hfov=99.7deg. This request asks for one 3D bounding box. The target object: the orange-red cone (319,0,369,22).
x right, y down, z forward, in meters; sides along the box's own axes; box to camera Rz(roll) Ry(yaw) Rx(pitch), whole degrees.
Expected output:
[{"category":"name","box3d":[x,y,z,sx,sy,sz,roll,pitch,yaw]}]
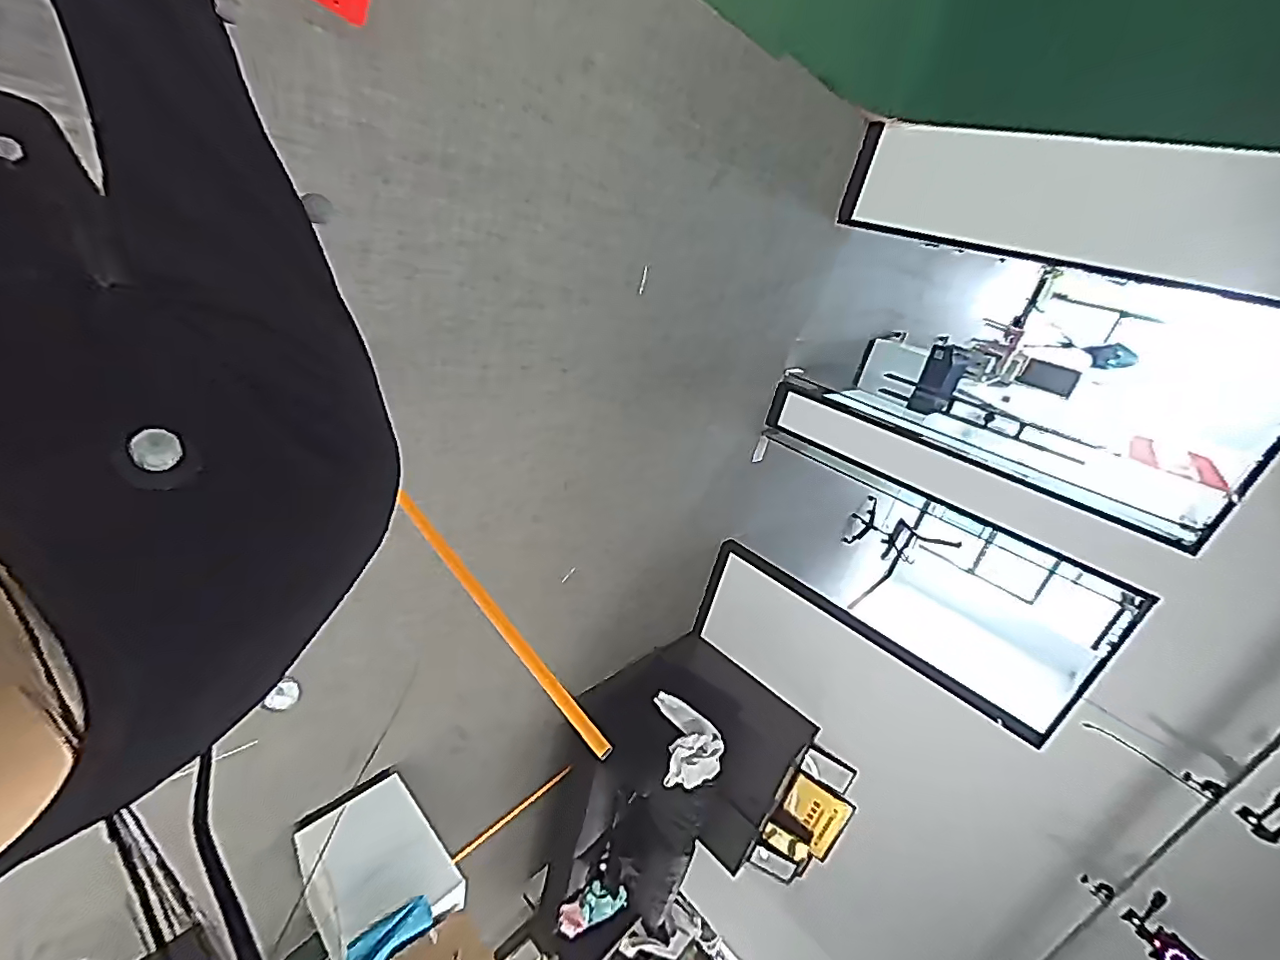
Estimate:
[{"category":"orange-red cone","box3d":[-0.502,-0.981,0.965,0.198,0.360,0.199,2,116,-52]}]
